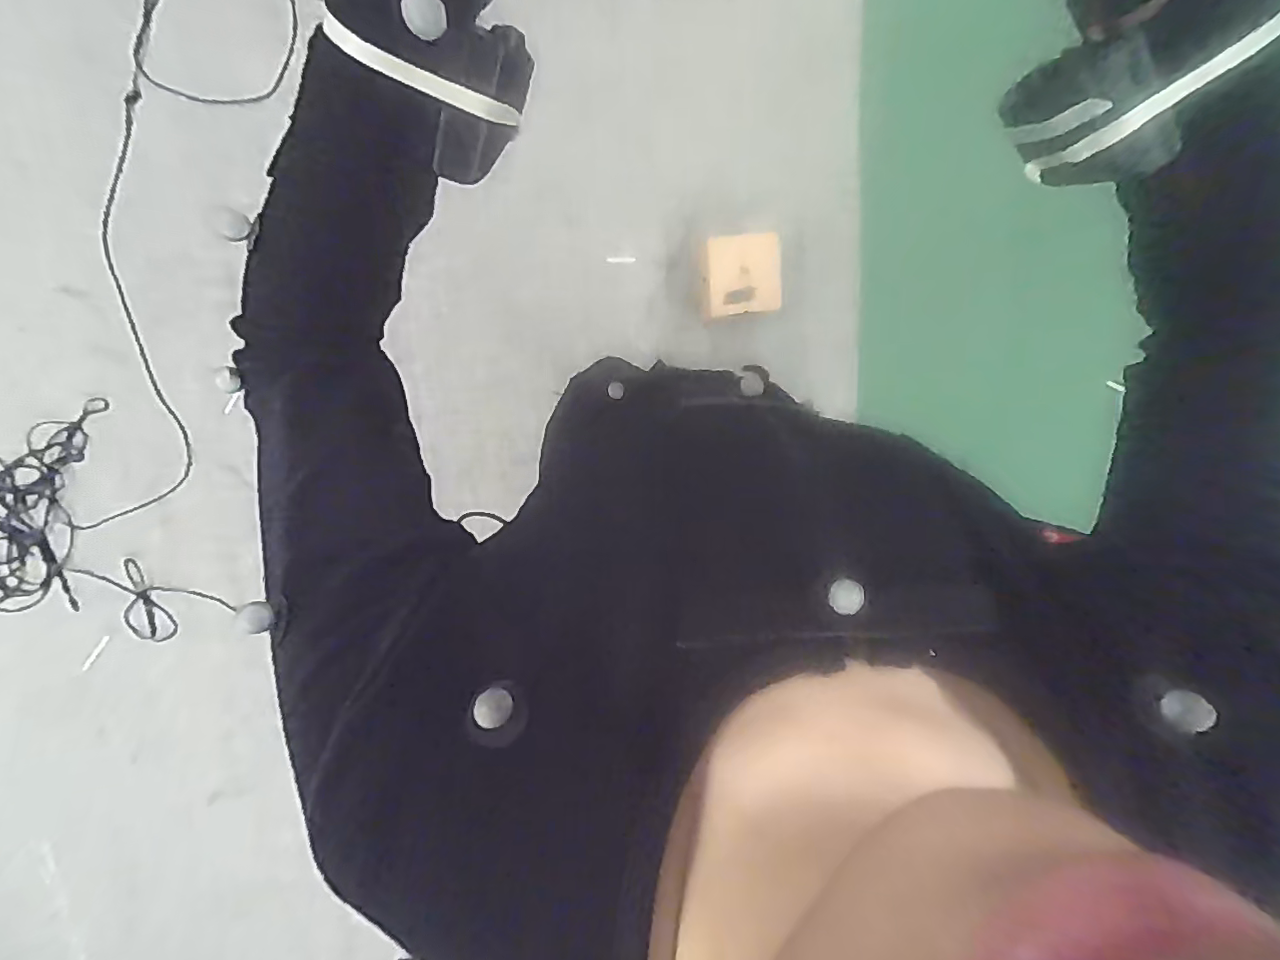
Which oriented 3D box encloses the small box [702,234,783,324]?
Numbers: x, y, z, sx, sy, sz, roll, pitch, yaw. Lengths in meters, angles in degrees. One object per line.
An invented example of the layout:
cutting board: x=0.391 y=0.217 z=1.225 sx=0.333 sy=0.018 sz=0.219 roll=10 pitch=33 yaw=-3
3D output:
small box: x=0.243 y=-0.476 z=1.305 sx=0.168 sy=0.176 sz=0.179 roll=-5 pitch=100 yaw=1
